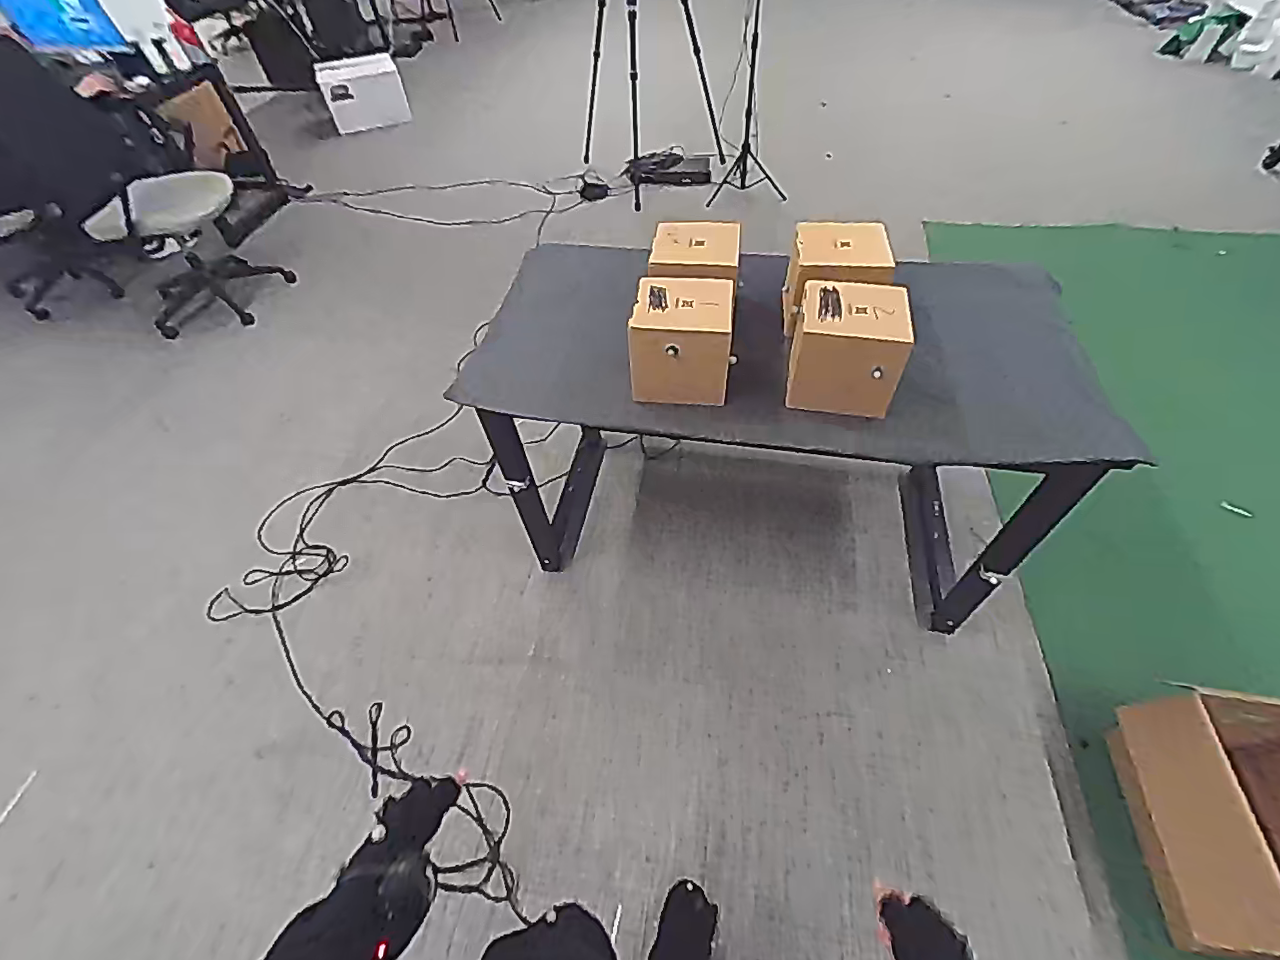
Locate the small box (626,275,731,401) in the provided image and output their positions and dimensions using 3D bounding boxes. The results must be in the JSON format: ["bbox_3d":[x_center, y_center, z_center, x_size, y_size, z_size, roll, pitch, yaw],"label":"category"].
[{"bbox_3d":[0.075,-0.264,1.014,0.179,0.176,0.168,4,51,7],"label":"small box"}]
